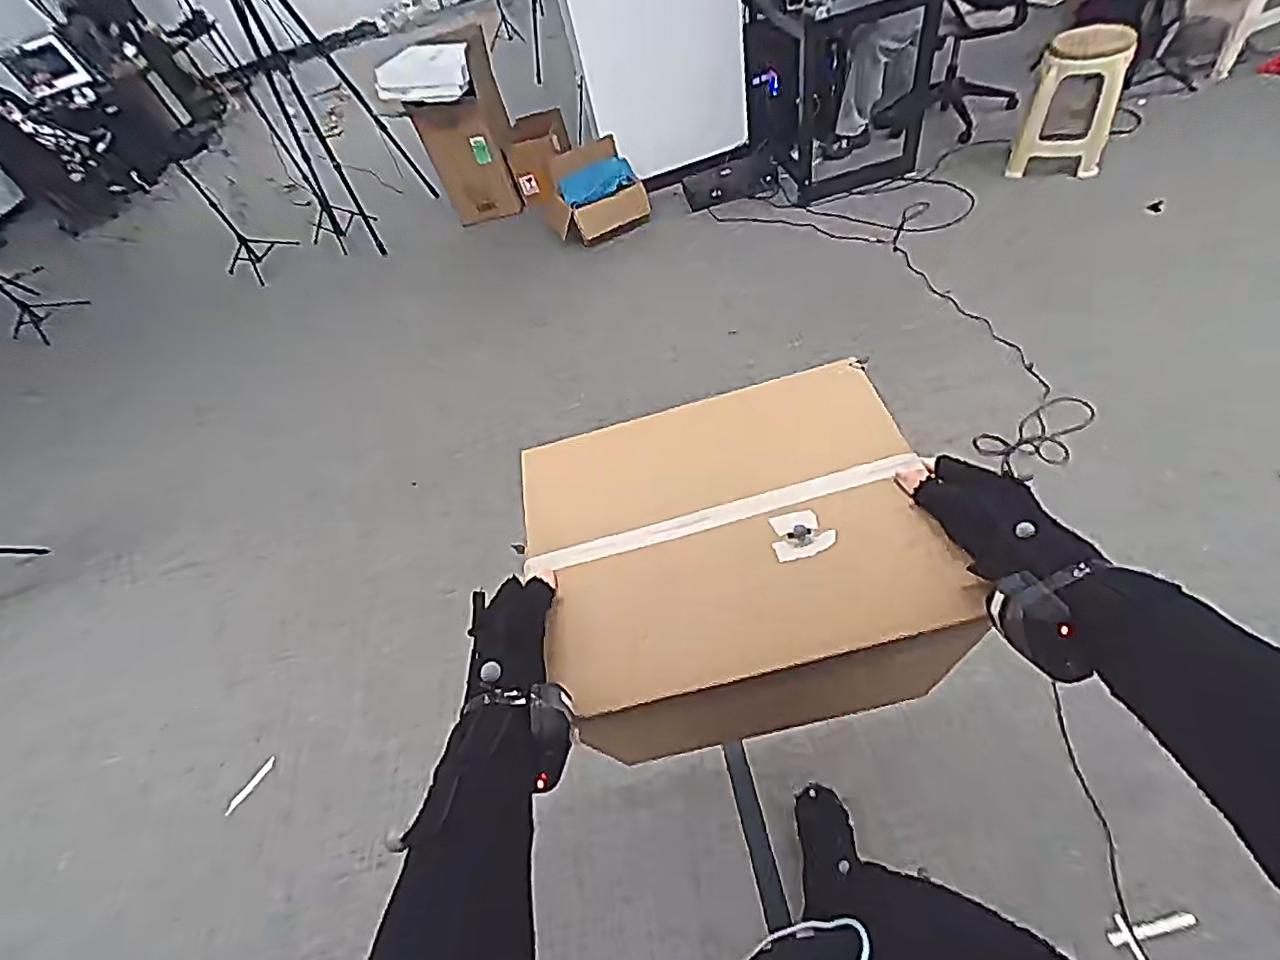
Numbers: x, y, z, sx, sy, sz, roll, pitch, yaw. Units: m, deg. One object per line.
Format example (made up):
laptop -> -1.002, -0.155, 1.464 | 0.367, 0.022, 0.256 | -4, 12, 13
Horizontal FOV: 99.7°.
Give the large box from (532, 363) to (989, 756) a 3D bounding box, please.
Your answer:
large box -> 0.114, 0.117, 0.683 | 0.408, 0.320, 0.320 | -16, 55, 3
